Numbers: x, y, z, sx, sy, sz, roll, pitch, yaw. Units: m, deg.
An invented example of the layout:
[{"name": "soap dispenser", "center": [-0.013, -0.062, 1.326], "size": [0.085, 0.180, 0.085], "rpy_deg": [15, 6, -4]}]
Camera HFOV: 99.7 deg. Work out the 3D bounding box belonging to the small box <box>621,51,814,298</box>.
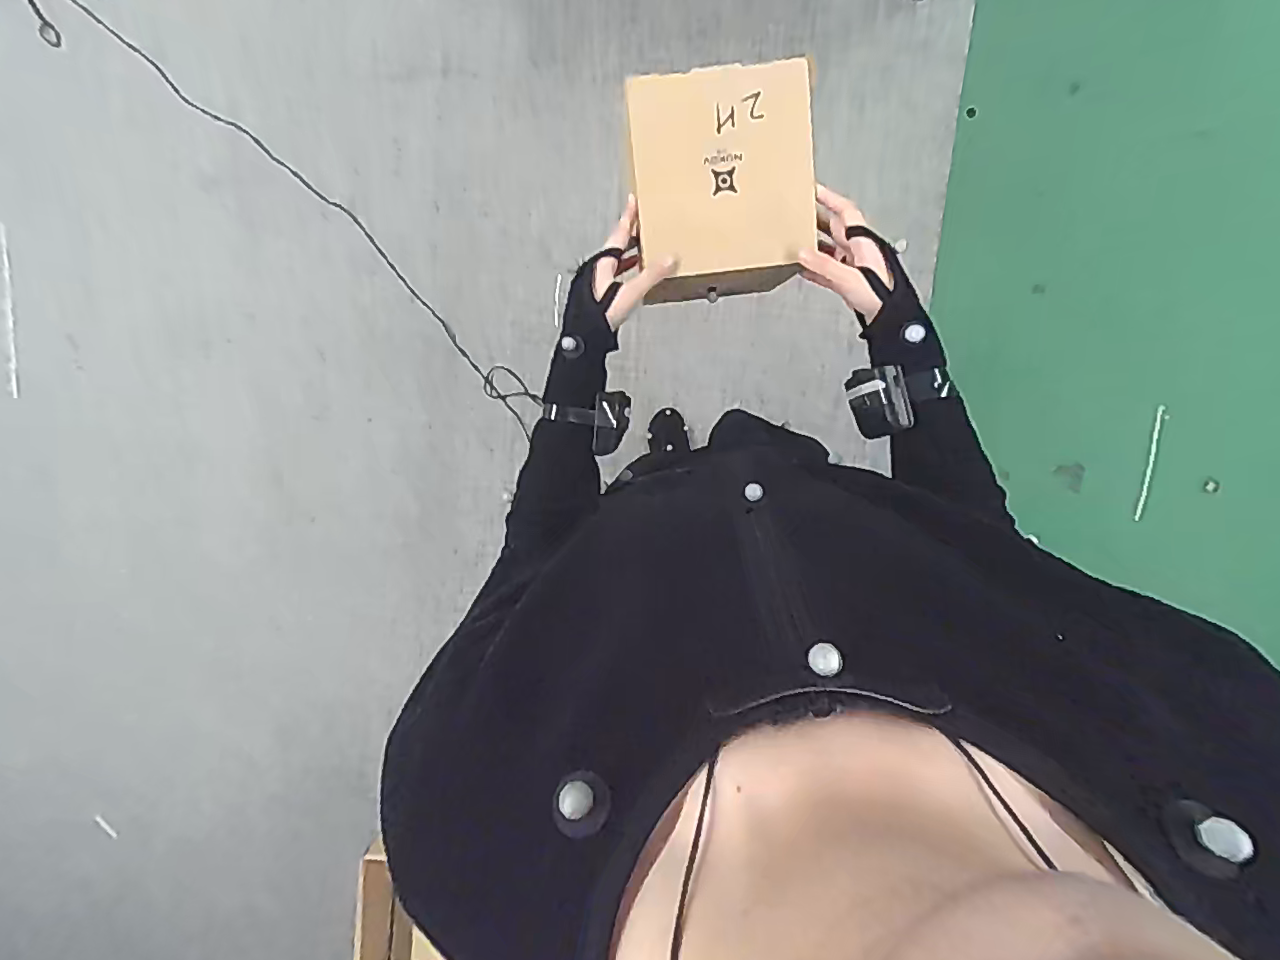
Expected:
[{"name": "small box", "center": [0.073, -0.296, 0.566], "size": [0.168, 0.176, 0.179], "rpy_deg": [-6, 98, 0]}]
